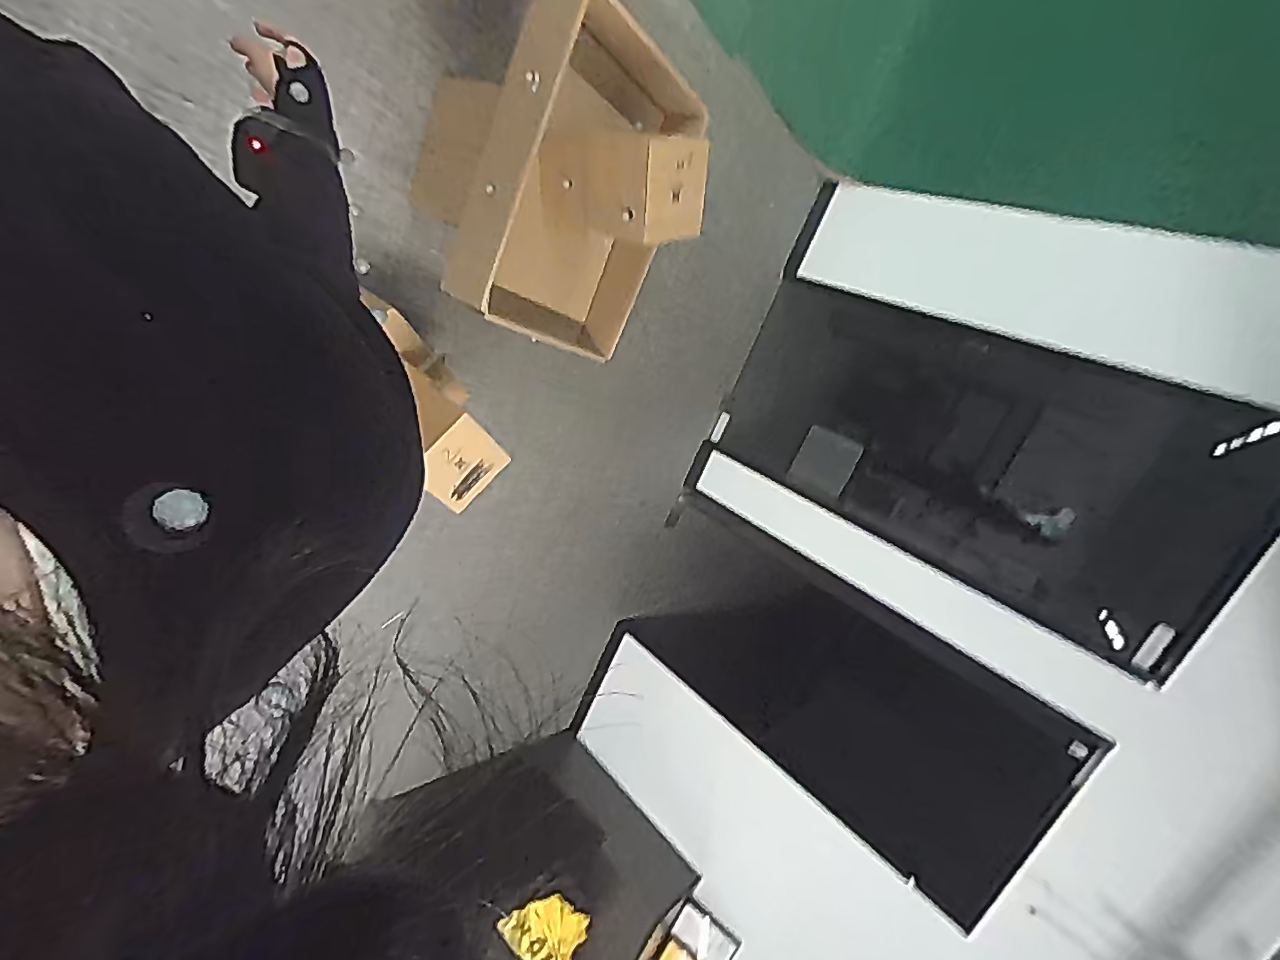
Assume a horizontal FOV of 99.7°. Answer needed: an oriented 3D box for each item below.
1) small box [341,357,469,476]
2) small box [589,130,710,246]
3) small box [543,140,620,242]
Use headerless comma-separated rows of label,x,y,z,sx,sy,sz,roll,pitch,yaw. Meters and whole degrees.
small box,-0.530,-0.148,1.226,0.168,0.176,0.179,-45,145,-16
small box,0.013,-0.576,1.064,0.168,0.176,0.179,-27,135,-37
small box,-0.098,-0.632,1.175,0.168,0.176,0.179,-27,135,-35
